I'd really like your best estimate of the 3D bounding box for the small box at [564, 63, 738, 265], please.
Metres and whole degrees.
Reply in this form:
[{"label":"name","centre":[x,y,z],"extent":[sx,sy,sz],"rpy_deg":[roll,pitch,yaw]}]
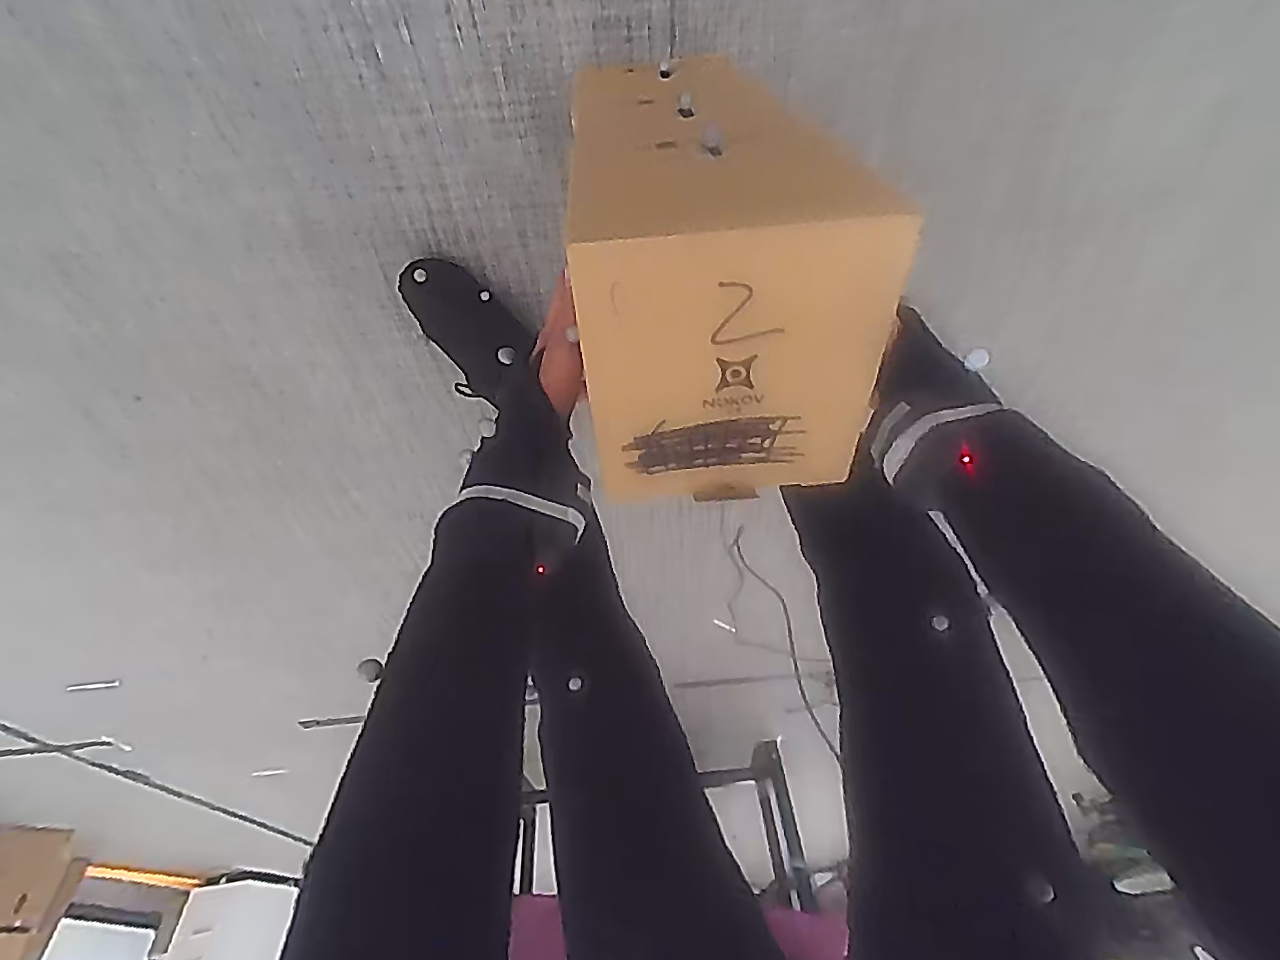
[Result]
[{"label":"small box","centre":[0.014,-0.334,0.601],"extent":[0.168,0.176,0.179],"rpy_deg":[-7,135,1]}]
